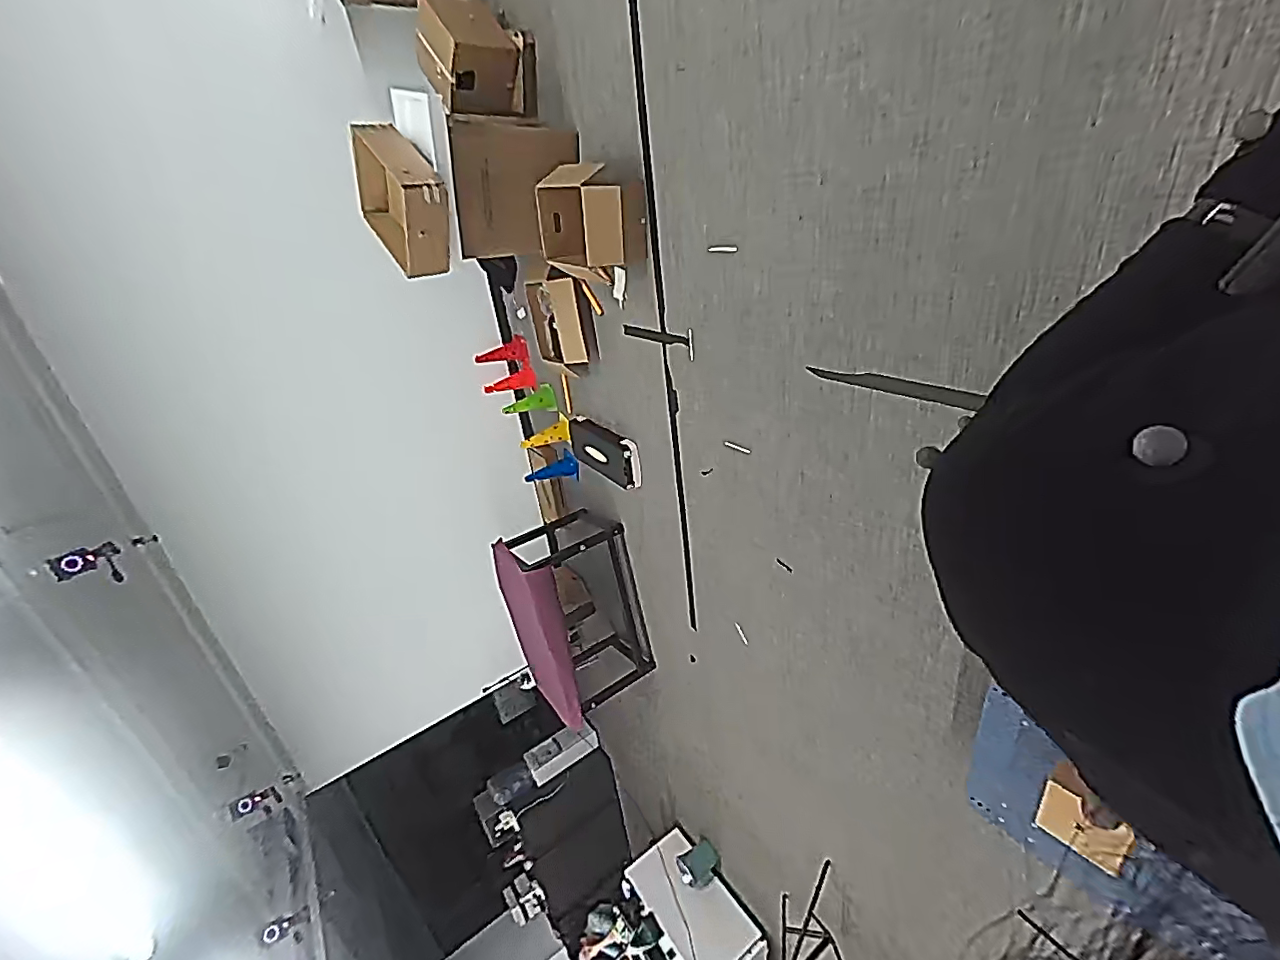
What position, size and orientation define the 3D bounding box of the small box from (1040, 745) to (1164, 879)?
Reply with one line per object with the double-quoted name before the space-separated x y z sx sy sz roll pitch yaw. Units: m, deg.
"small box" 1.103 0.784 1.293 0.168 0.176 0.179 27 132 51
